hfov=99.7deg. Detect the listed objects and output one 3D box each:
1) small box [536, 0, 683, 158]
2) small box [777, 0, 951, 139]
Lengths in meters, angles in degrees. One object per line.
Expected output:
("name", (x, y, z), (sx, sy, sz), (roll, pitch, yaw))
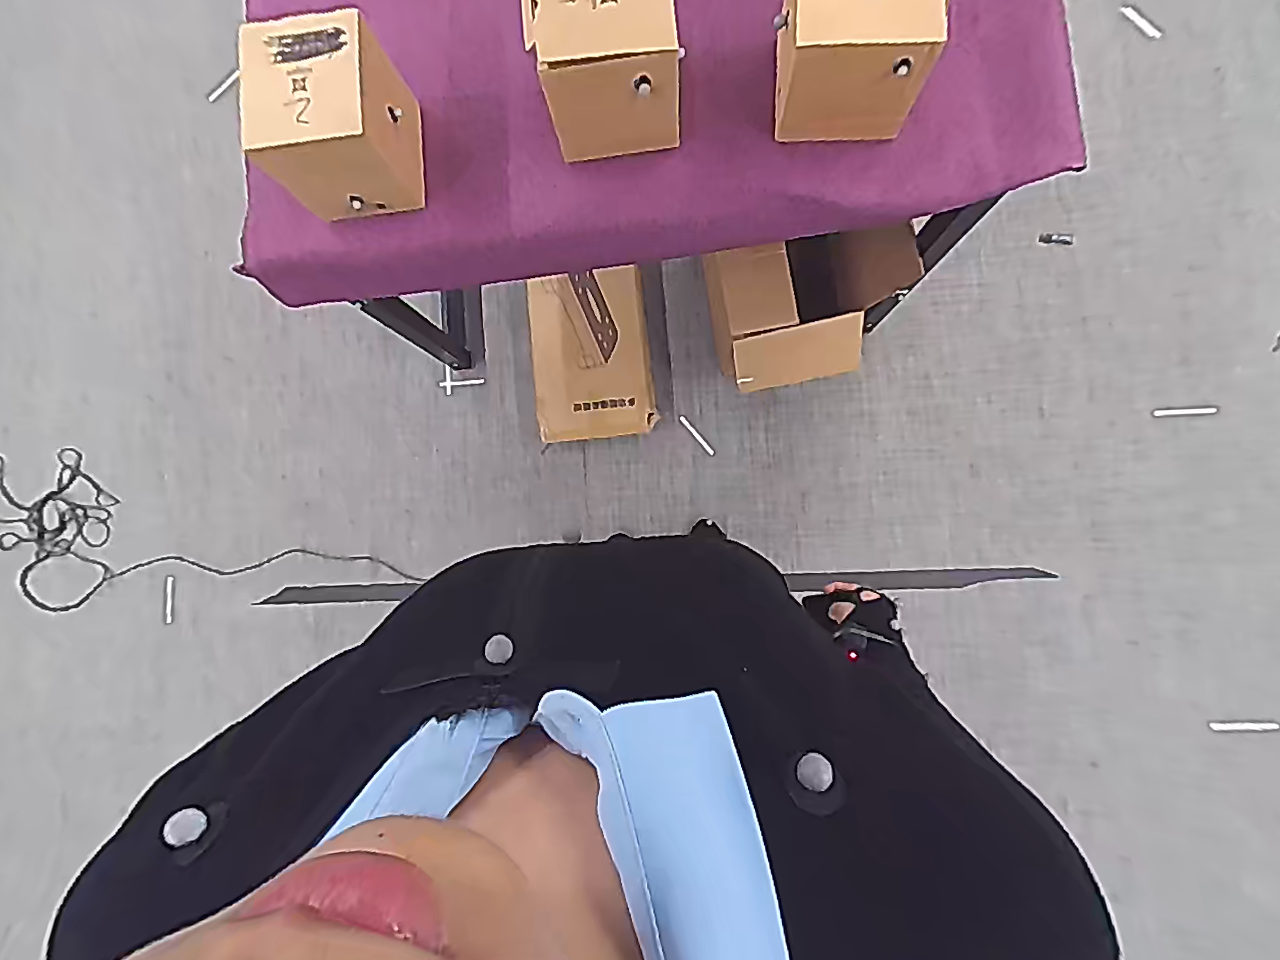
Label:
("small box", (-0.036, -0.577, 0.737), (0.179, 0.176, 0.168), (-5, 83, 4))
("small box", (0.282, -0.582, 0.714), (0.179, 0.176, 0.168), (2, 86, 4))
